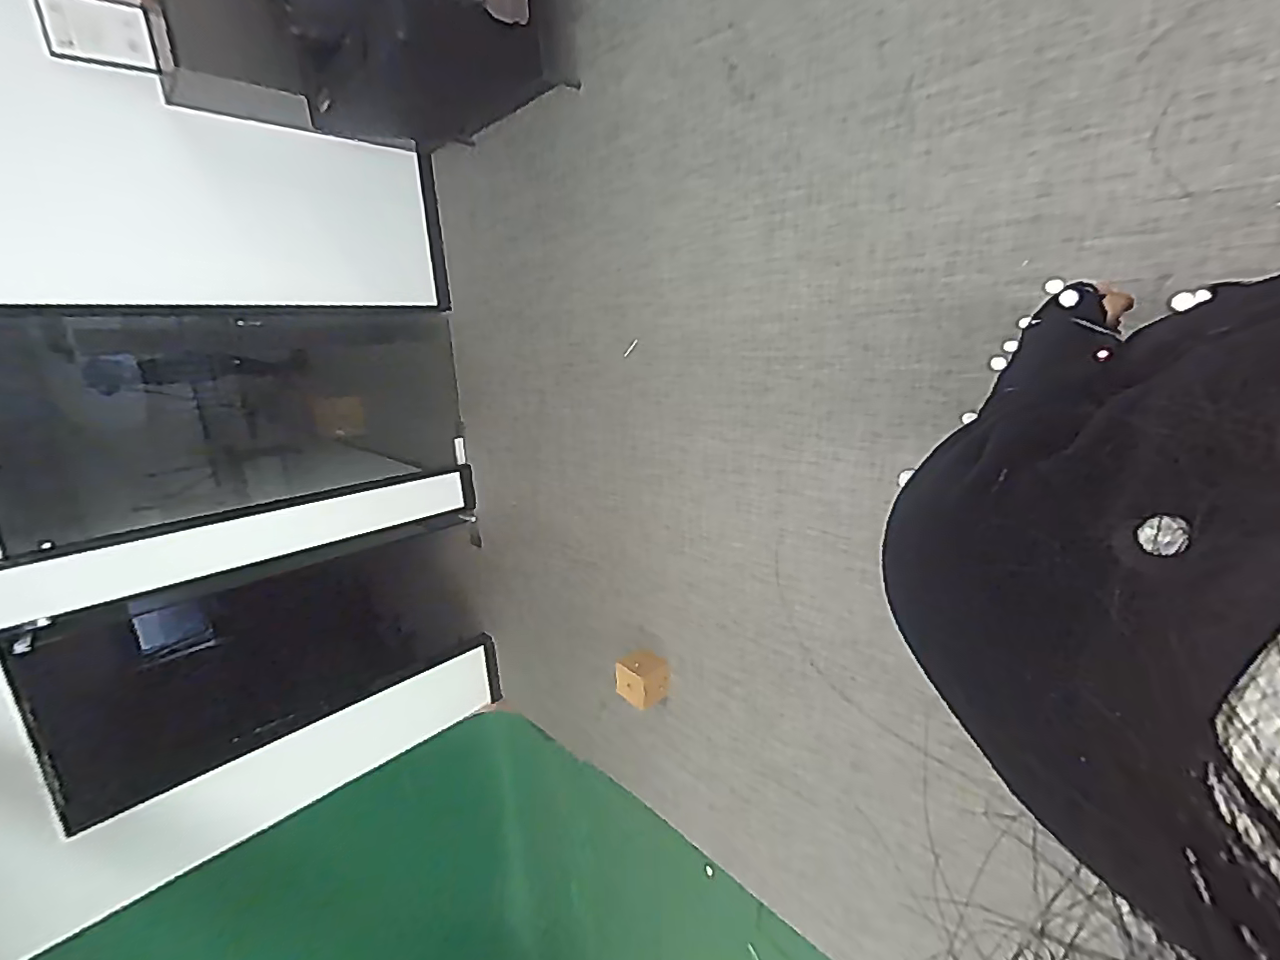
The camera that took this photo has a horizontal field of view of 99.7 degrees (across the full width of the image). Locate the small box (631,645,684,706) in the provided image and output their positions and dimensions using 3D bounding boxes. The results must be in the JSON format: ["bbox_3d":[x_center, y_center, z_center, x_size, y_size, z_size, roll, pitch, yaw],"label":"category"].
[{"bbox_3d":[0.078,0.868,2.427,0.179,0.176,0.168,16,115,43],"label":"small box"}]
